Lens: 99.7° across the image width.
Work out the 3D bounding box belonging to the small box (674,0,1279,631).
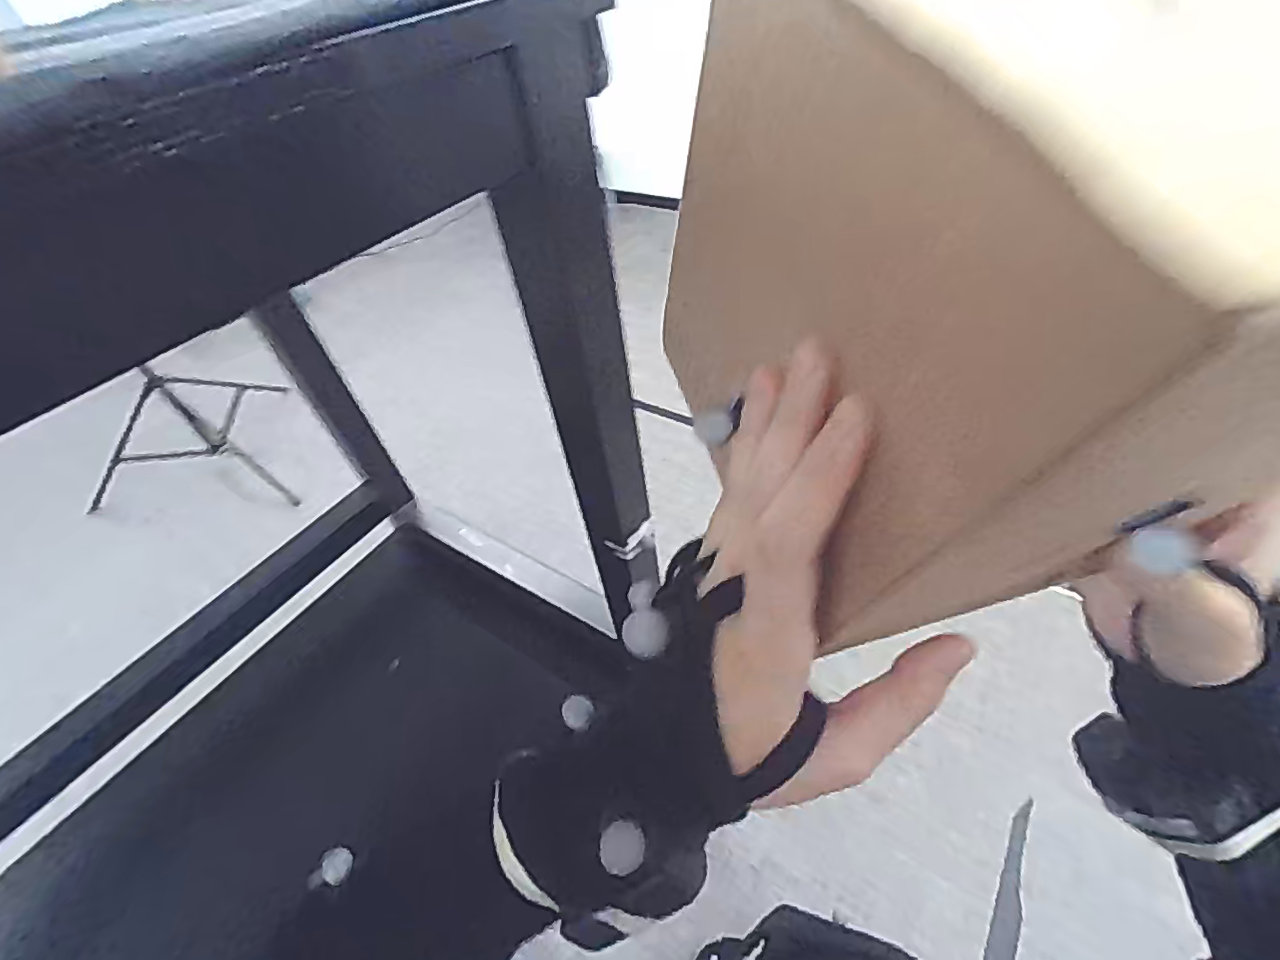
[{"bbox_3d":[0.120,-0.057,0.201,0.168,0.176,0.179,-10,60,-12],"label":"small box"}]
